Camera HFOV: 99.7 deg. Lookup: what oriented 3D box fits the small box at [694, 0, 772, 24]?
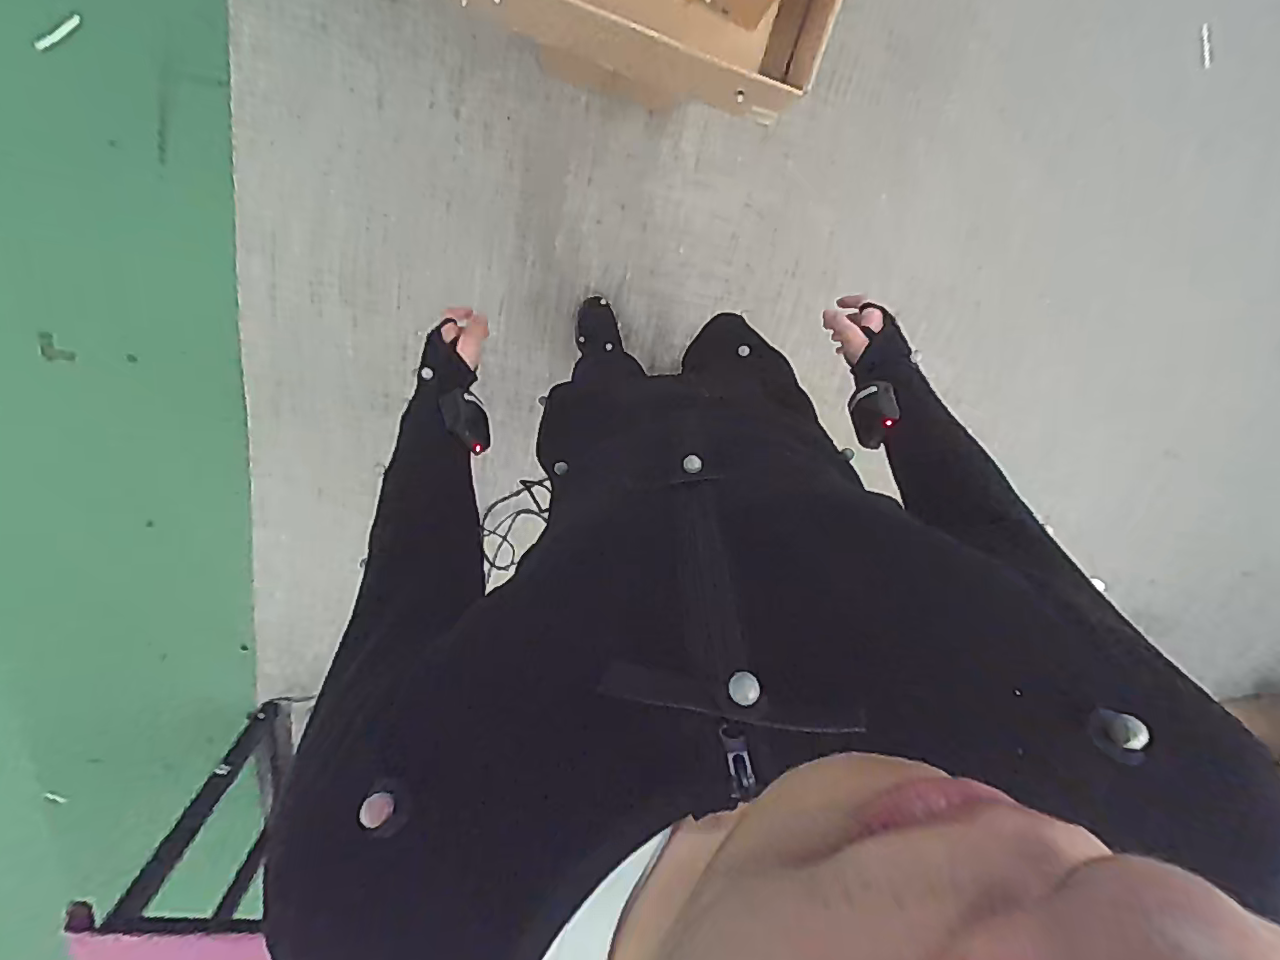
[{"bbox_3d":[0.150,-0.841,0.806,0.168,0.176,0.179,15,111,-11],"label":"small box"}]
